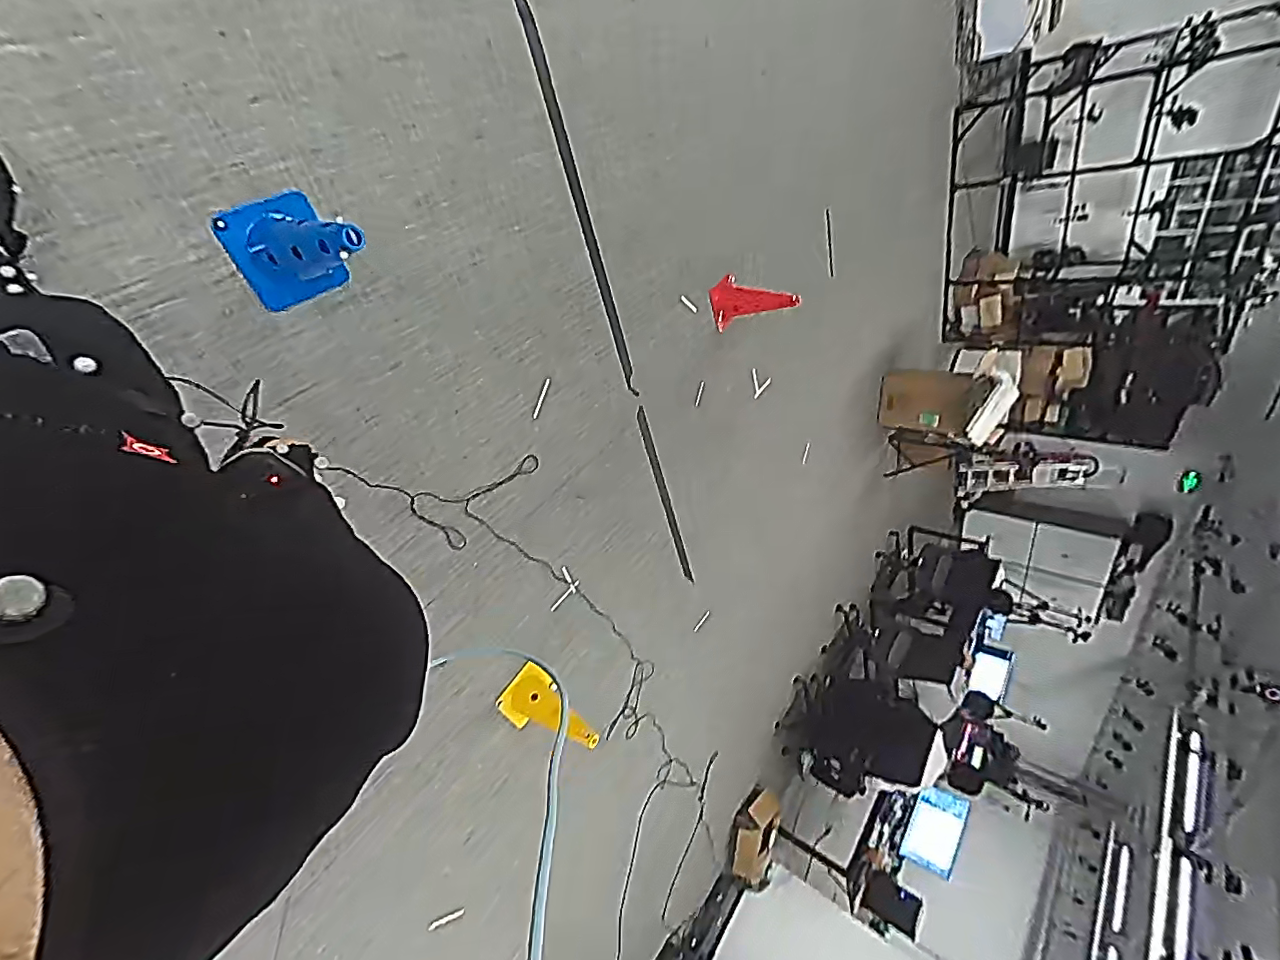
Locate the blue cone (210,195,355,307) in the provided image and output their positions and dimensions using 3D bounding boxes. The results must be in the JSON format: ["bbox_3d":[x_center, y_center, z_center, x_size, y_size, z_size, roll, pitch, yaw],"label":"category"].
[{"bbox_3d":[-0.632,-0.447,1.034,0.192,0.380,0.193,-42,131,-33],"label":"blue cone"}]

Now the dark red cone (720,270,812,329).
[{"bbox_3d":[0.543,-0.767,2.305,0.201,0.394,0.202,-49,135,-27],"label":"dark red cone"}]
